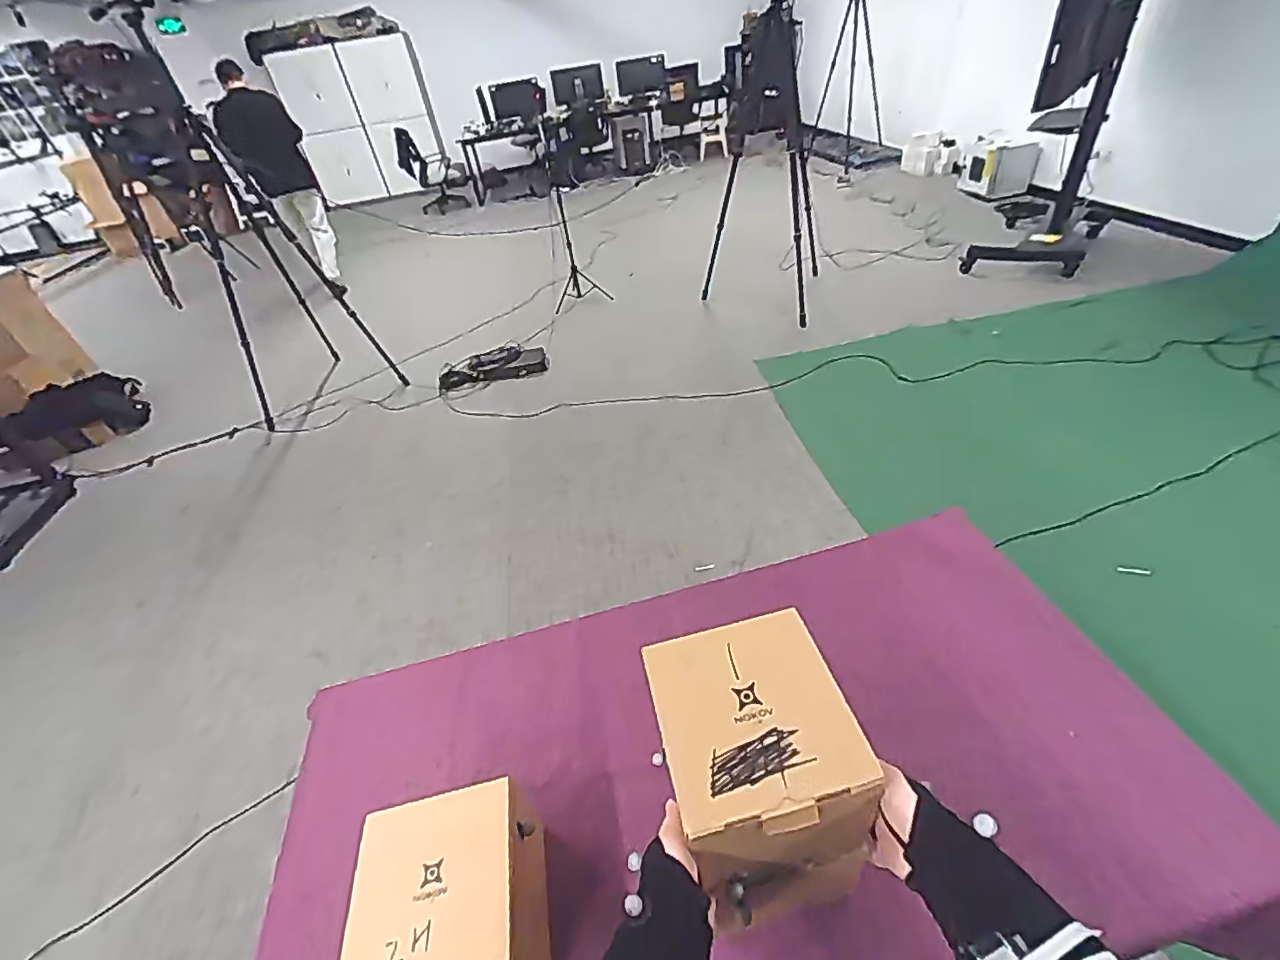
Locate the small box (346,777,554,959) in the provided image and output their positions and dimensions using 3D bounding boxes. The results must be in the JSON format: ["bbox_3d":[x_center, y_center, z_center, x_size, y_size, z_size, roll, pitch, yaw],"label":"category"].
[{"bbox_3d":[-0.198,0.475,0.605,0.168,0.176,0.179,-14,39,-4],"label":"small box"}]

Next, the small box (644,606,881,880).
[{"bbox_3d":[0.110,0.260,0.533,0.168,0.176,0.179,-14,37,-3],"label":"small box"}]
